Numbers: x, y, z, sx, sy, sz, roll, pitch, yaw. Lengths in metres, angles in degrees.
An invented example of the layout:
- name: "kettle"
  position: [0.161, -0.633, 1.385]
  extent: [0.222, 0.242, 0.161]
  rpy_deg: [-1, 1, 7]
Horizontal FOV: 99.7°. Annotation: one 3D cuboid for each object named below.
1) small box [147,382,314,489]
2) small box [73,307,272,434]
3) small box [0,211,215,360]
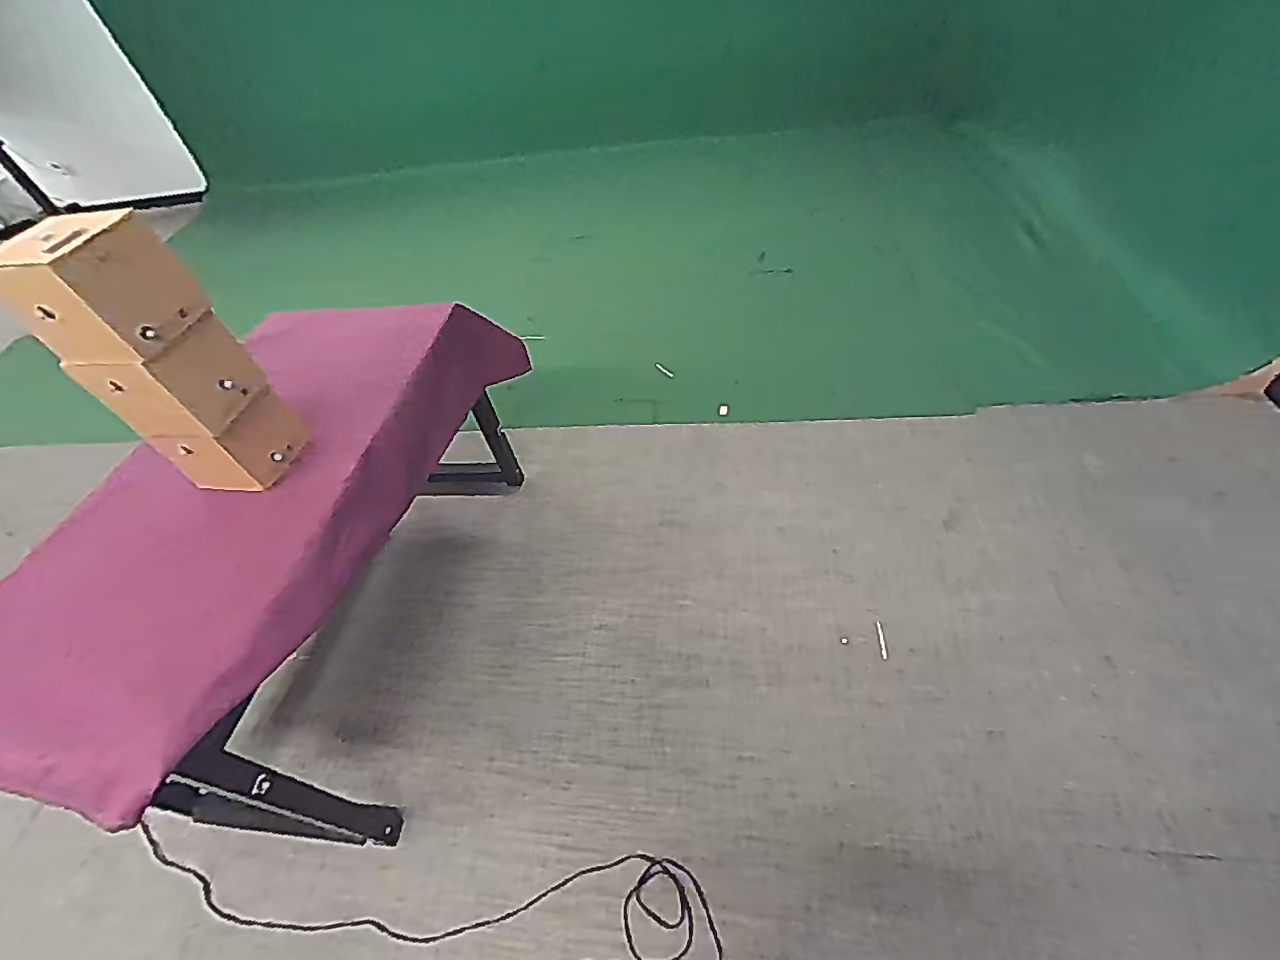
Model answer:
- name: "small box"
  position: [-0.834, -0.095, 1.122]
  extent: [0.179, 0.176, 0.168]
  rpy_deg: [4, 51, 13]
- name: "small box"
  position: [-0.841, -0.198, 0.993]
  extent: [0.179, 0.176, 0.168]
  rpy_deg: [2, 51, 12]
- name: "small box"
  position: [-0.853, -0.307, 0.871]
  extent: [0.179, 0.176, 0.168]
  rpy_deg: [2, 50, 13]
